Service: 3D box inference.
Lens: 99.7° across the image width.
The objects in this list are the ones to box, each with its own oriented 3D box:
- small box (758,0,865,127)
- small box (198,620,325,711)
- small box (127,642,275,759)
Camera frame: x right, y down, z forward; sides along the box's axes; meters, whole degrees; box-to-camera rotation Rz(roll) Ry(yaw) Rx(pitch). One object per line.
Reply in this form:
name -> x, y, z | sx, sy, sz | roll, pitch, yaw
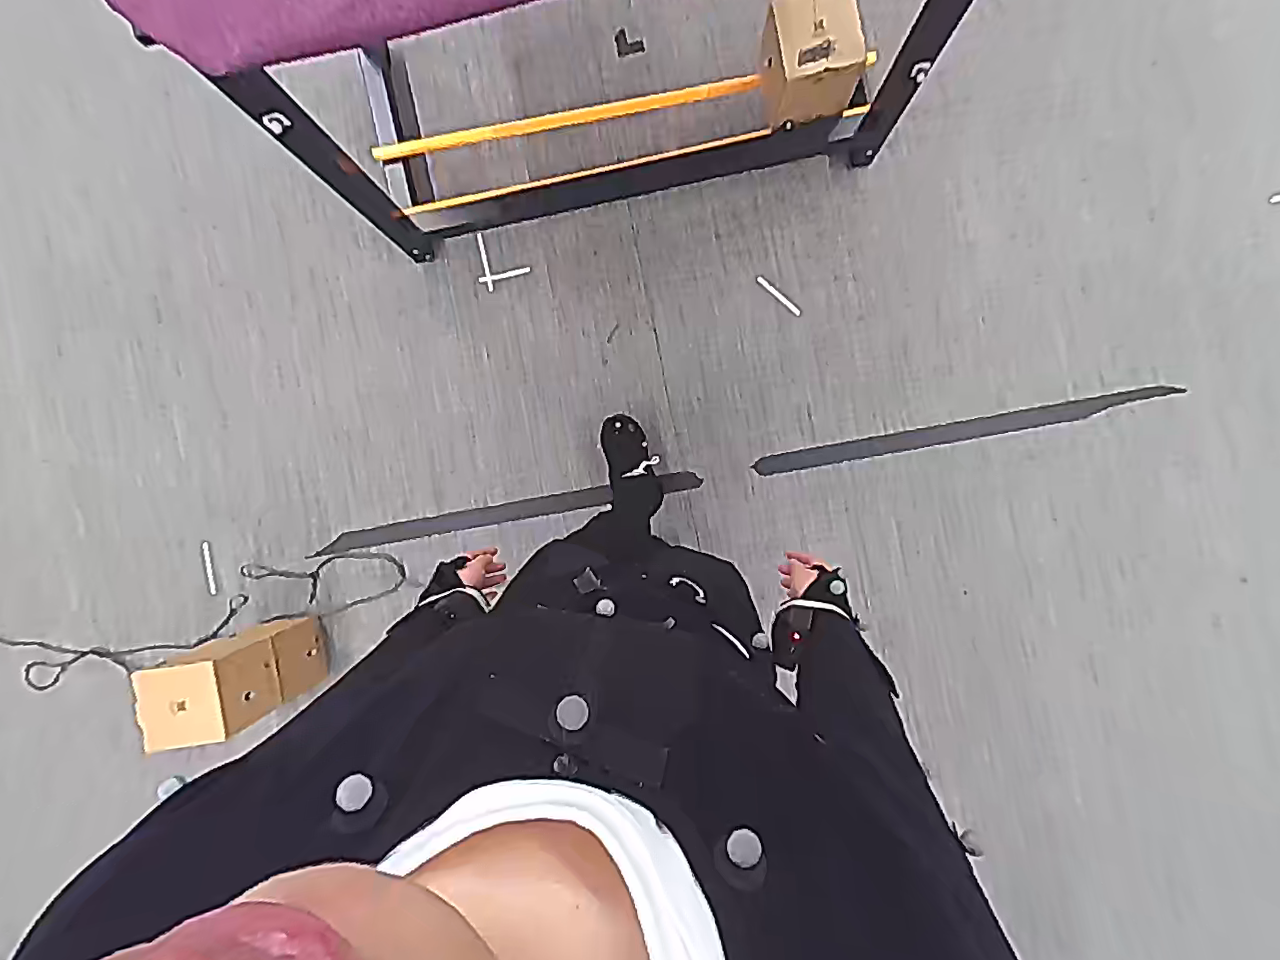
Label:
small box -> 0.358, -0.892, 1.154 | 0.168, 0.176, 0.179 | -11, 89, 3
small box -> -0.905, 0.451, 1.305 | 0.179, 0.176, 0.168 | -10, 91, 2
small box -> -0.911, 0.456, 1.142 | 0.179, 0.176, 0.168 | -10, 91, 3
